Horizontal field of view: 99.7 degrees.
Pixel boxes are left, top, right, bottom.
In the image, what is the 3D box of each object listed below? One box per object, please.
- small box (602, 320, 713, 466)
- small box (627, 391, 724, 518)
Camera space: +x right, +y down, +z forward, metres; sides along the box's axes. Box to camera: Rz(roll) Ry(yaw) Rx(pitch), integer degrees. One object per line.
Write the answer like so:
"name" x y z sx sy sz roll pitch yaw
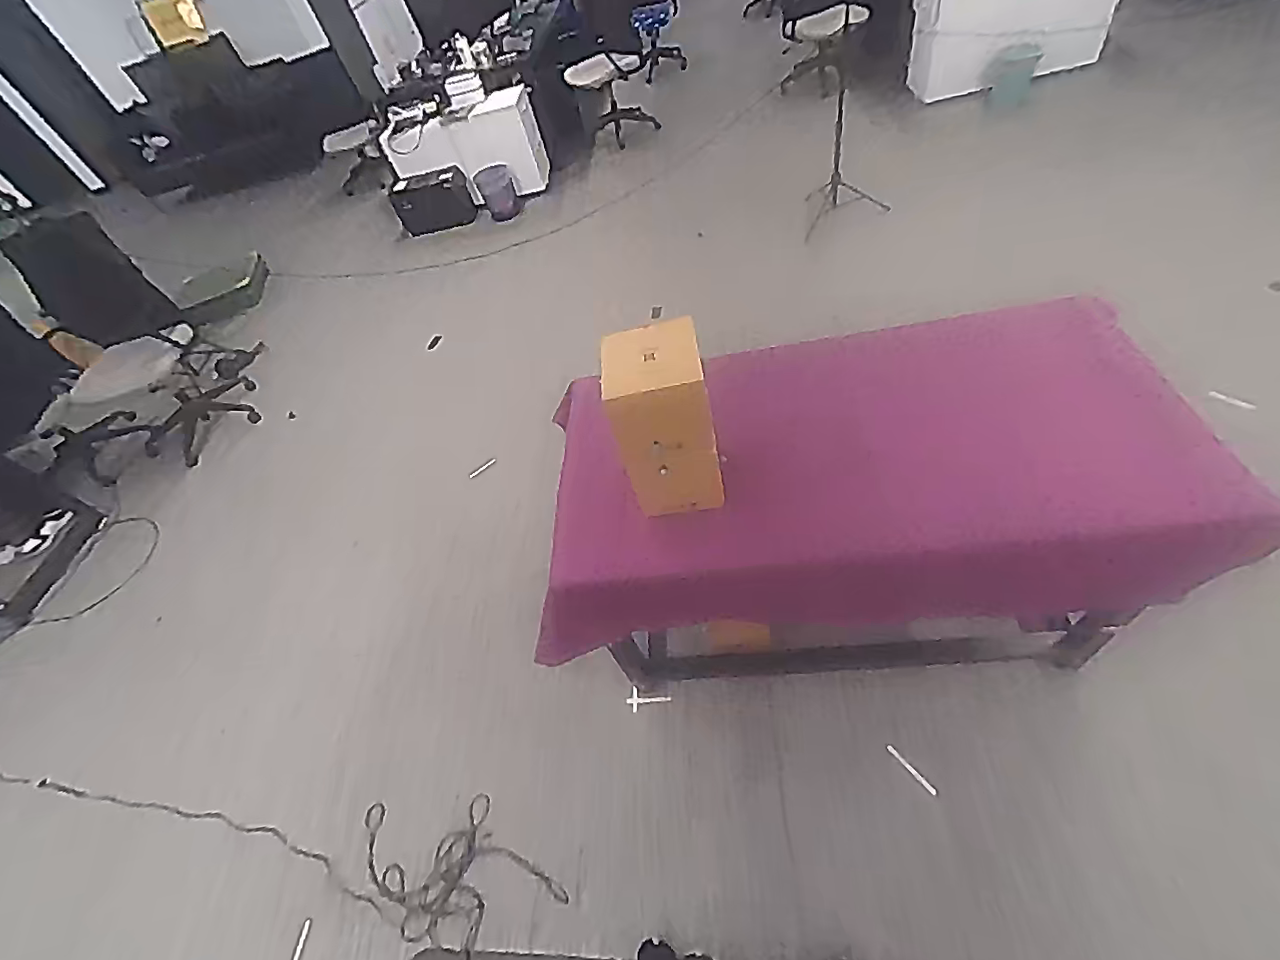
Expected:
"small box" 0.033 -0.151 0.957 0.168 0.176 0.179 -10 50 8
"small box" 0.072 -0.049 1.078 0.168 0.176 0.179 -9 50 9
